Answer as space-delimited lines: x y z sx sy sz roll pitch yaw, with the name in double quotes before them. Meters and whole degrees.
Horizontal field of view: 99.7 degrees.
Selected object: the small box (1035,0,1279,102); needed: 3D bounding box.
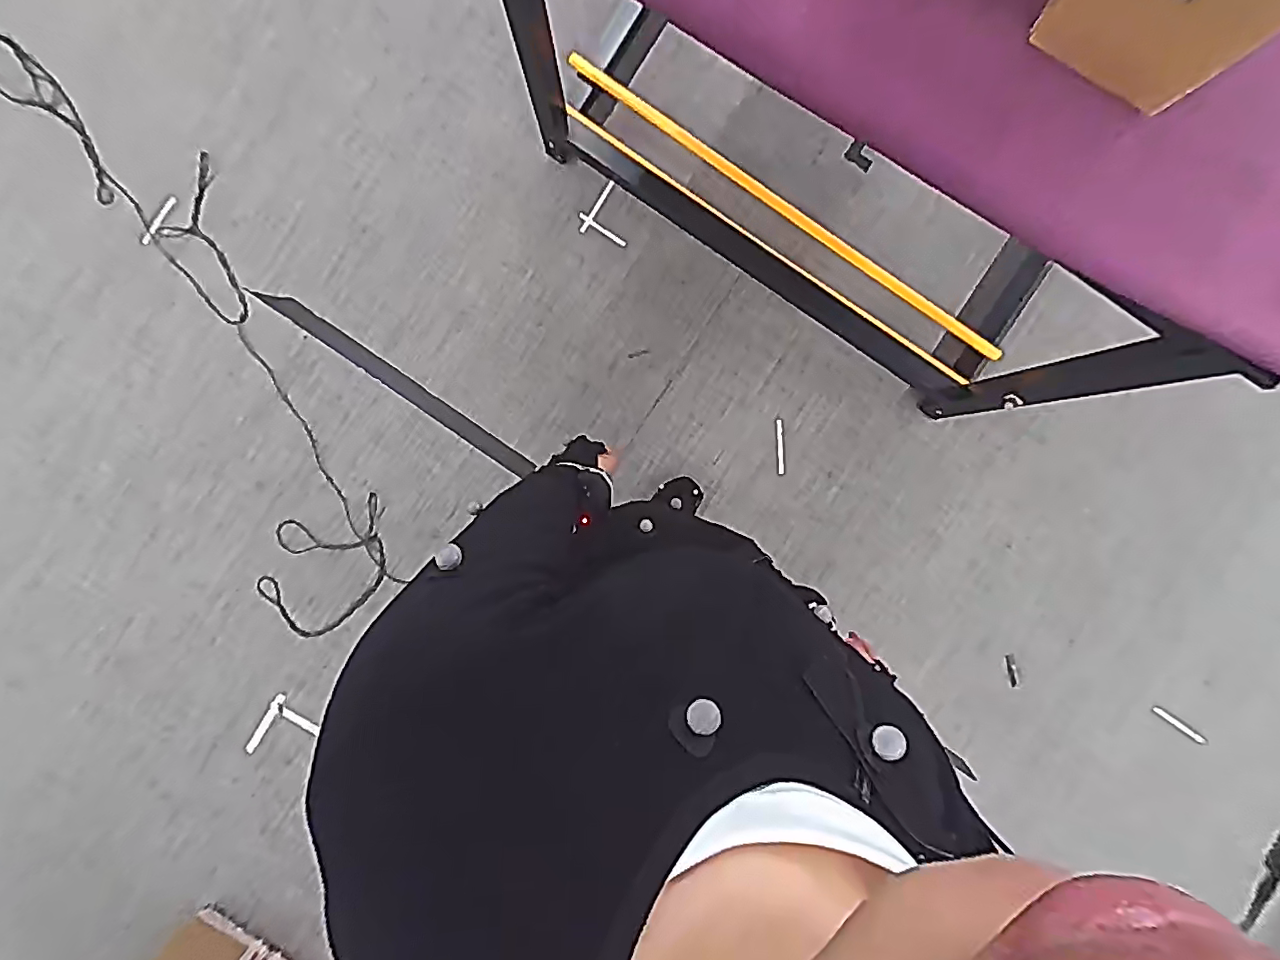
"small box" 0.567 -0.535 0.548 0.179 0.176 0.168 31 91 -1
